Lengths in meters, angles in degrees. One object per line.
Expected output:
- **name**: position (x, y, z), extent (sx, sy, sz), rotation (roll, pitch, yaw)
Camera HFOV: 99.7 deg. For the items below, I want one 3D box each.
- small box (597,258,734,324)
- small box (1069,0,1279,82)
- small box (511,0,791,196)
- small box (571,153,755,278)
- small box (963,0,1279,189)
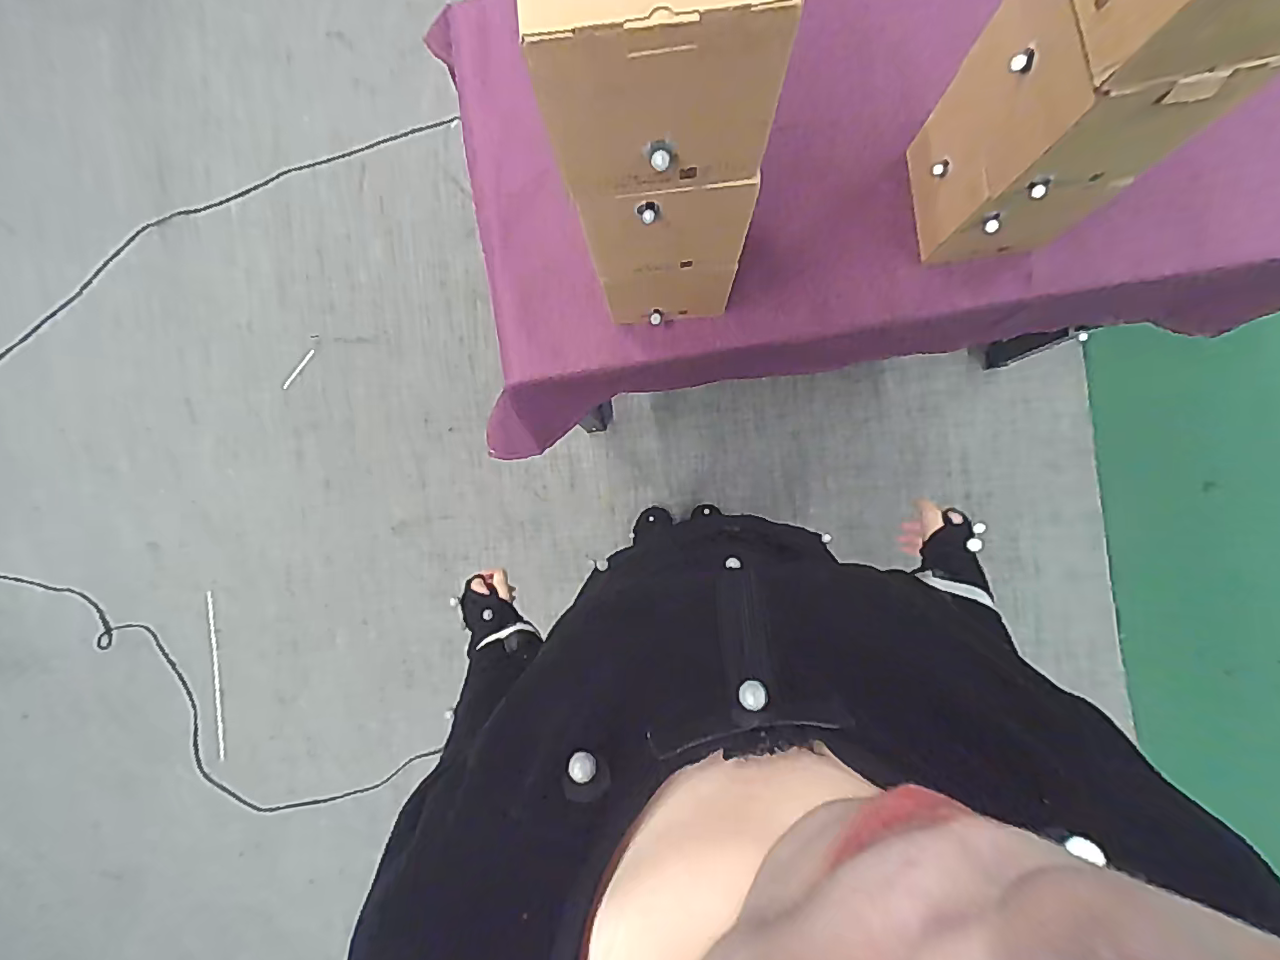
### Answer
- **small box**: position (0.030, -0.327, 0.726), extent (0.168, 0.176, 0.179), rotation (-4, 88, 3)
- **small box**: position (0.449, -0.432, 0.380), extent (0.179, 0.176, 0.168), rotation (-11, 86, 4)
- **small box**: position (0.003, -0.346, 0.398), extent (0.168, 0.176, 0.179), rotation (-6, 87, 3)
- **small box**: position (0.021, -0.335, 0.562), extent (0.168, 0.176, 0.179), rotation (-4, 86, 4)
- **small box**: position (0.462, -0.422, 0.542), extent (0.168, 0.176, 0.179), rotation (-9, 85, 2)
